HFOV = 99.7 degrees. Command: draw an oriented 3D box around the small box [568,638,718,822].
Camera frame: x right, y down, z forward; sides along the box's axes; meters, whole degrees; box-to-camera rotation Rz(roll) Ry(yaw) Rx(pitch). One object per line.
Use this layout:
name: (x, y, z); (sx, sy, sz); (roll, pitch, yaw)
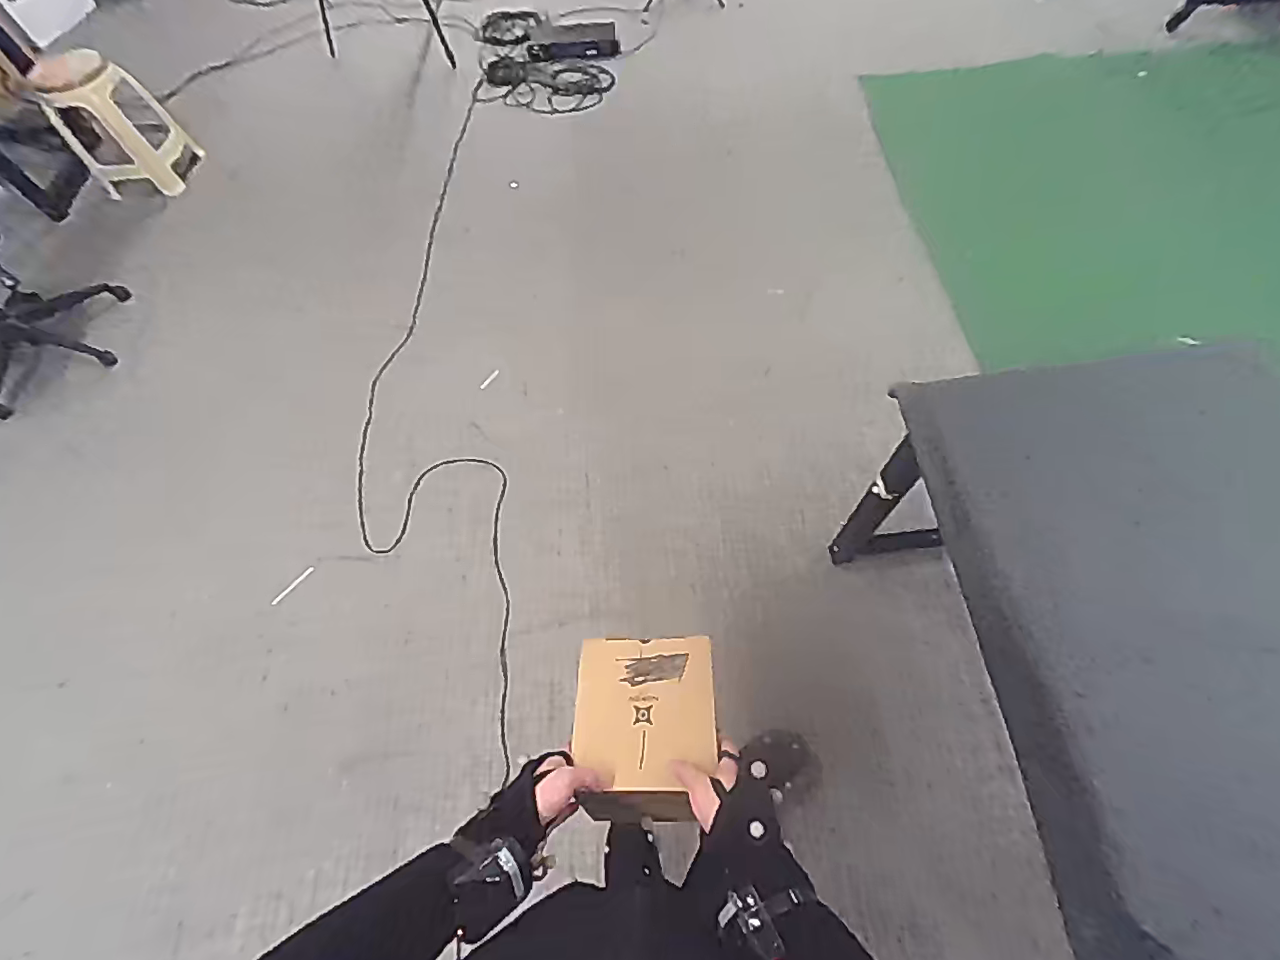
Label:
small box: (0.011, 0.323, 0.698); (0.168, 0.176, 0.179); (-3, 49, 5)
